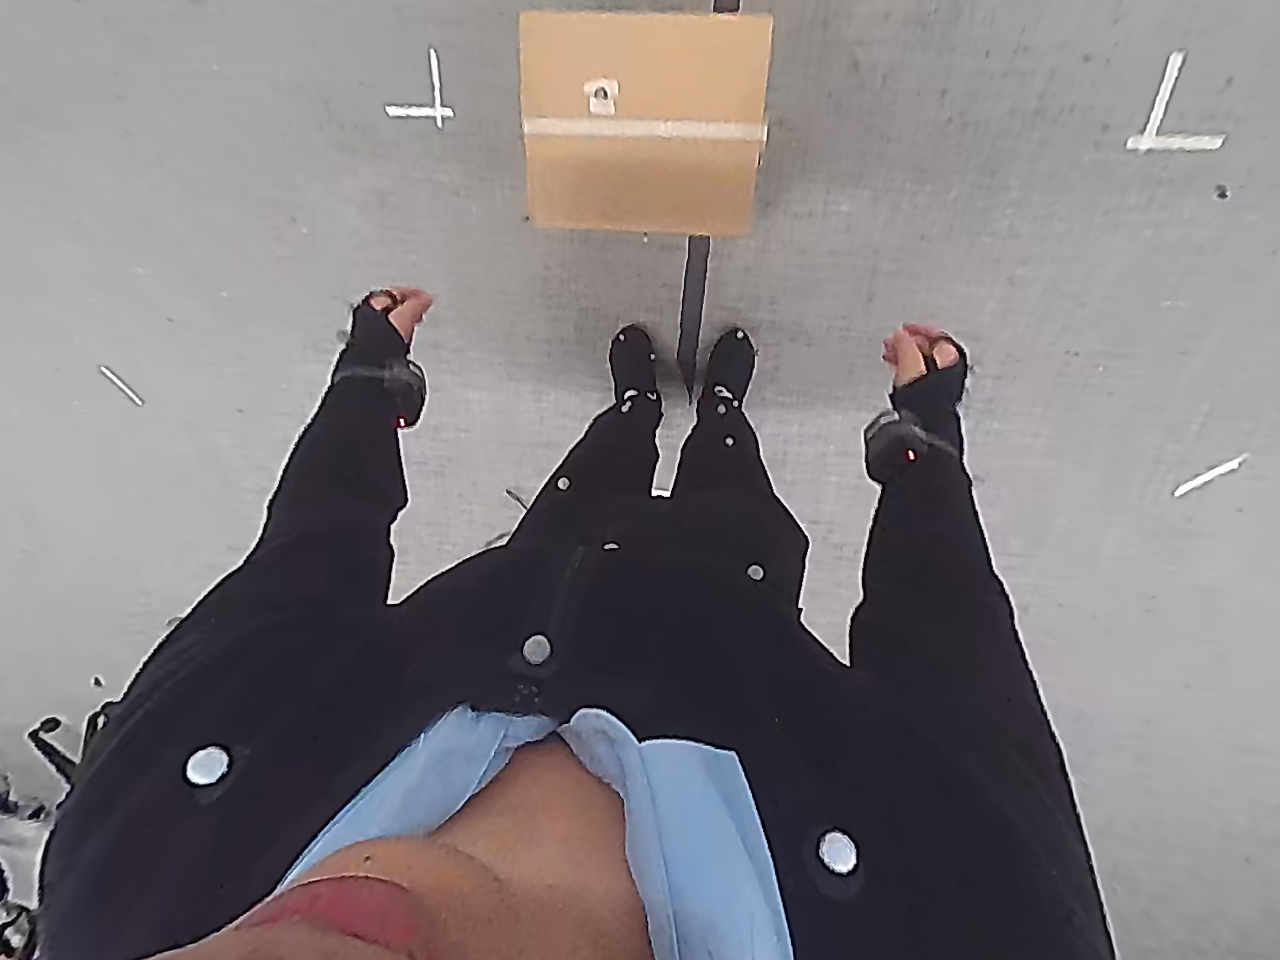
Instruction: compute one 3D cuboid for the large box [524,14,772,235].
[{"bbox_3d":[0.025,-0.652,1.048,0.408,0.320,0.320,5,114,6],"label":"large box"}]
